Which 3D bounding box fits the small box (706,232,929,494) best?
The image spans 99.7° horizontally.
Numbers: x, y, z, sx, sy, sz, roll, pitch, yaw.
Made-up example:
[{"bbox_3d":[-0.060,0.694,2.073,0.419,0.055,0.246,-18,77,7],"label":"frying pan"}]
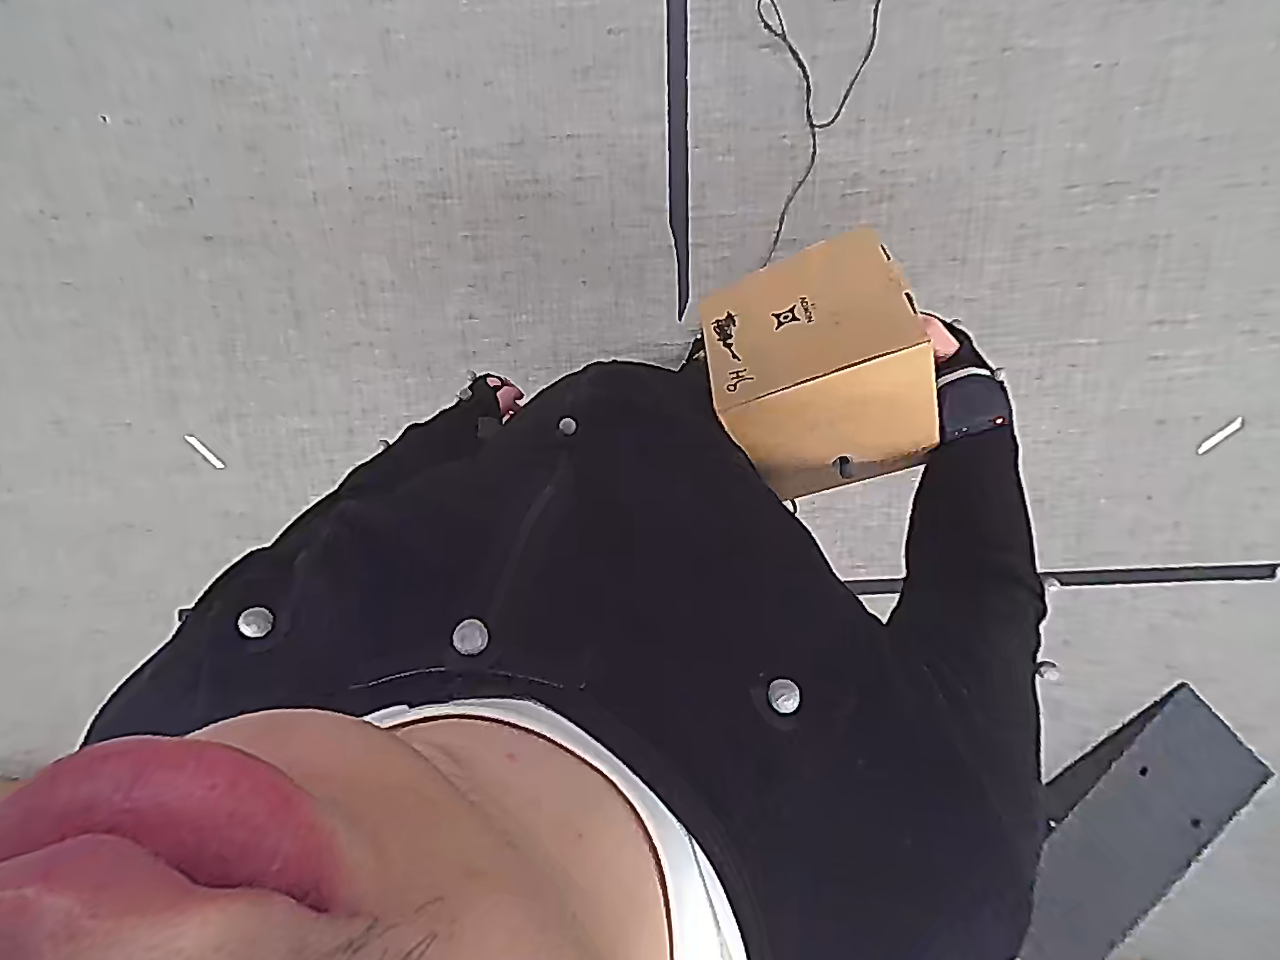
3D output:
[{"bbox_3d":[0.183,-0.110,0.561,0.179,0.168,0.176,-17,140,20],"label":"small box"}]
